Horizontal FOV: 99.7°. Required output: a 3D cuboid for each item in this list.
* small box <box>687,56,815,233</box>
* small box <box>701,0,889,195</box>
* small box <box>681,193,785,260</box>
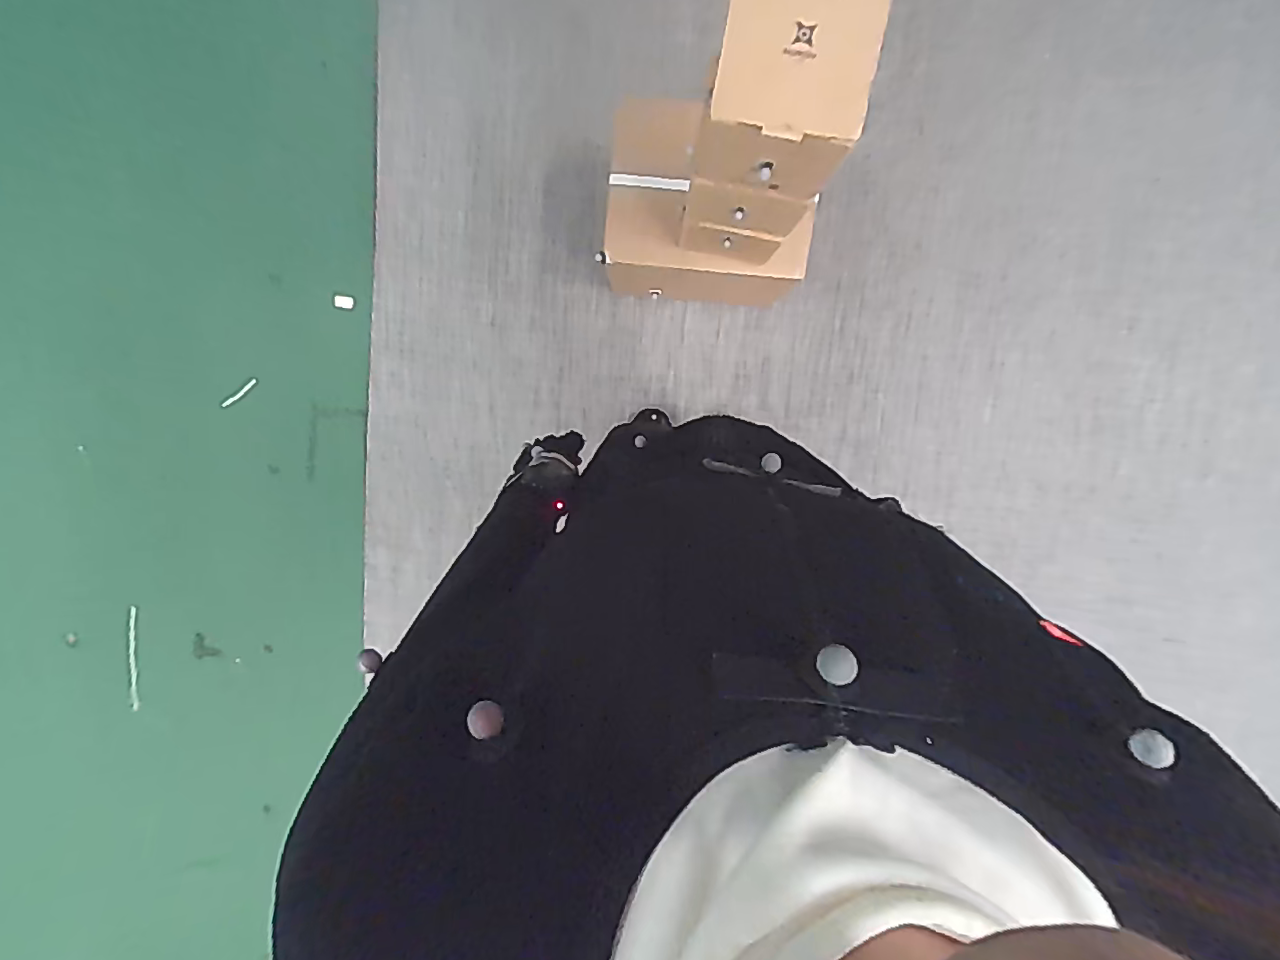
[{"bbox_3d":[0.173,-0.489,0.816,0.179,0.176,0.168,12,100,2],"label":"small box"},{"bbox_3d":[0.172,-0.471,0.652,0.168,0.176,0.179,11,101,0],"label":"small box"},{"bbox_3d":[0.175,-0.512,0.977,0.179,0.176,0.168,11,100,-1],"label":"small box"}]
